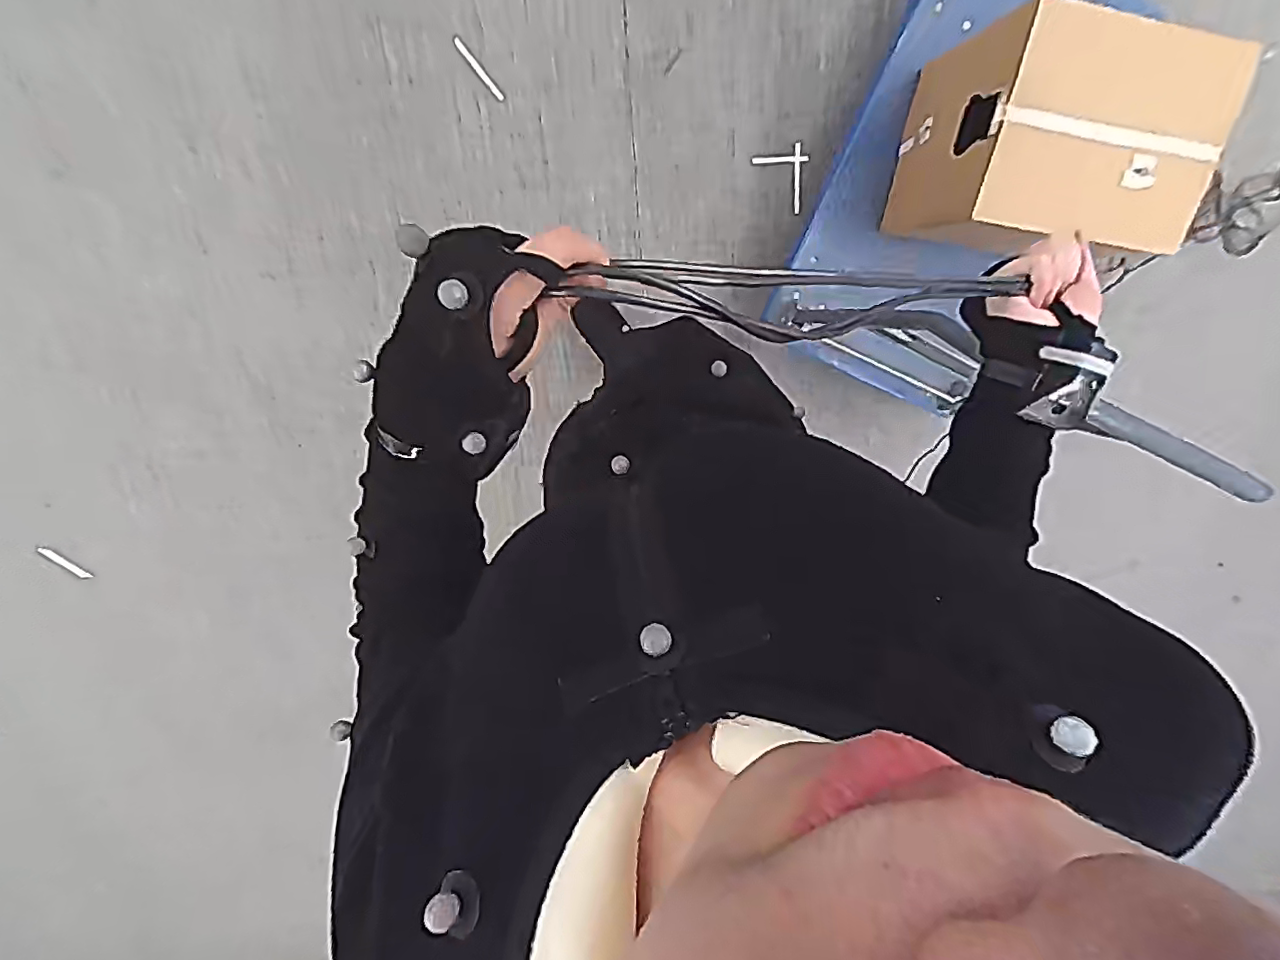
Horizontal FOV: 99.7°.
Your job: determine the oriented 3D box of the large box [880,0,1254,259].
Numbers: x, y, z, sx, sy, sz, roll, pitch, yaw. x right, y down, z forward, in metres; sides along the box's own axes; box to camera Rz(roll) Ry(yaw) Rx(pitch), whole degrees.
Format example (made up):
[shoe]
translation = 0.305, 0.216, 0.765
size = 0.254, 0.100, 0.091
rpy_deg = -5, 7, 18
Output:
[large box]
translation = 0.746, -0.612, 1.019
size = 0.408, 0.320, 0.320
rpy_deg = 6, 111, -9
